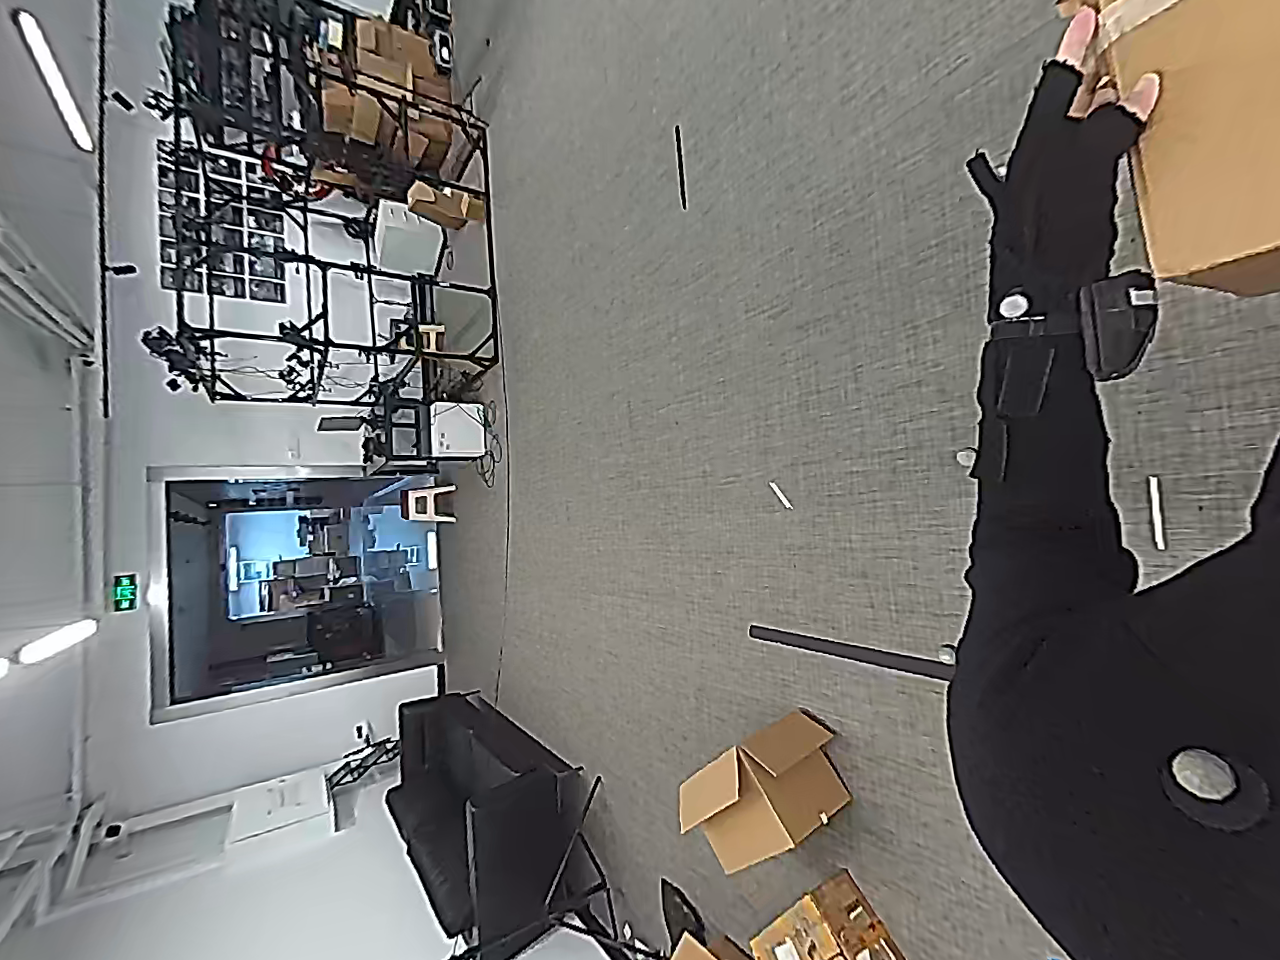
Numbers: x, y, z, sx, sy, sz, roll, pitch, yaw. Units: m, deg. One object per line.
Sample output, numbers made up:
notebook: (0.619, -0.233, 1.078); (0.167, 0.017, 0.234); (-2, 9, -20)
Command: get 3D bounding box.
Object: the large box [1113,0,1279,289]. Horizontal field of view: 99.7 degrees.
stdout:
large box: (0.517, -0.321, 0.251); (0.408, 0.320, 0.320); (-11, 91, 55)
